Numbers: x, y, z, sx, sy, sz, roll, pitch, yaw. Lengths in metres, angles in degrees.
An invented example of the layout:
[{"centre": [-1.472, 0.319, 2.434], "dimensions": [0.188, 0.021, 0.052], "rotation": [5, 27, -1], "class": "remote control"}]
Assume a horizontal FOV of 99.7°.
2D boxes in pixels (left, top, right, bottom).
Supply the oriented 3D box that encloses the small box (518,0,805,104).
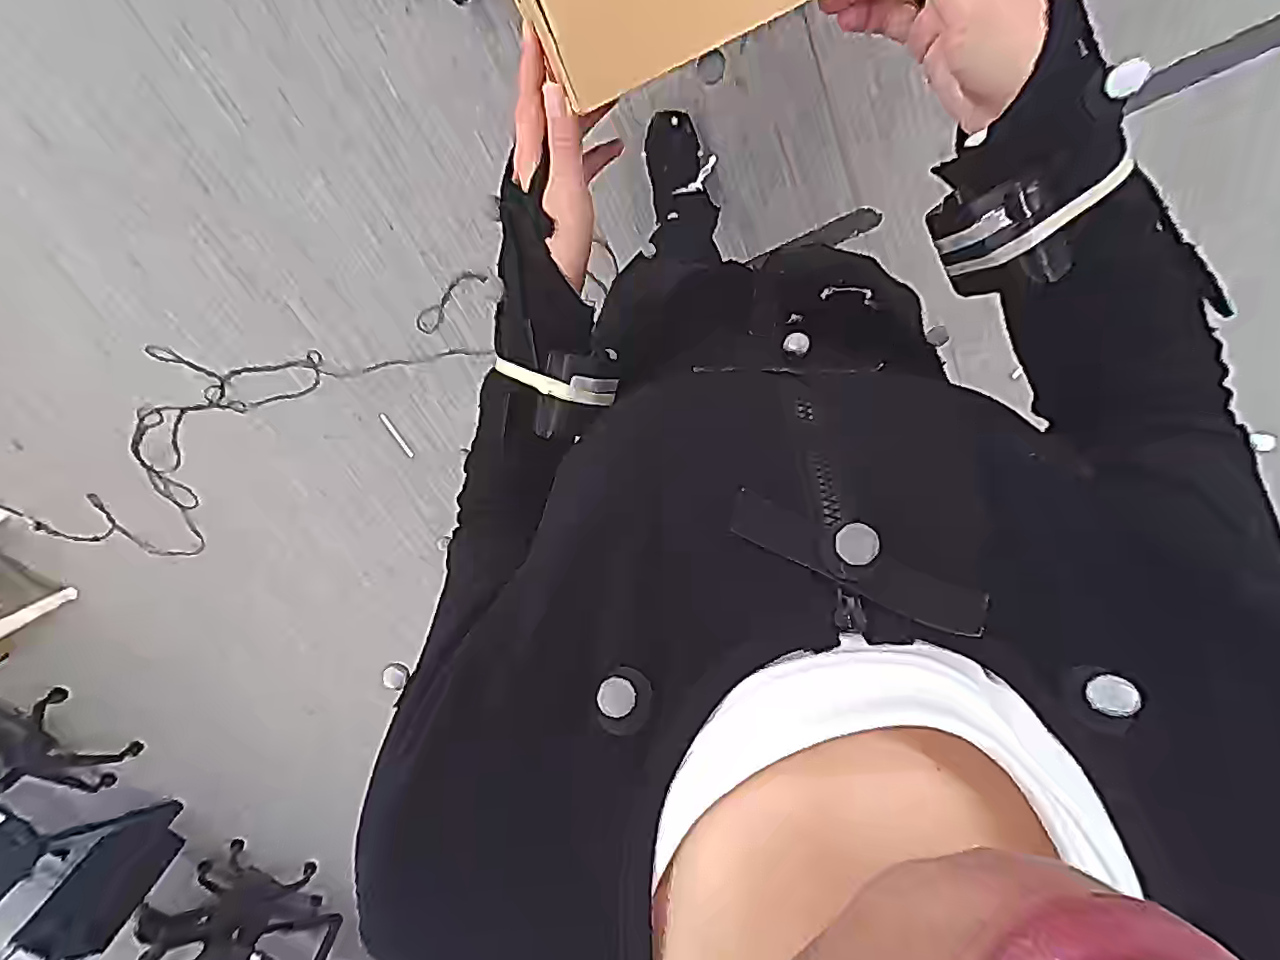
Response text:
[{"centre": [0.005, -0.322, 0.270], "dimensions": [0.179, 0.176, 0.168], "rotation": [-23, 129, 5], "class": "small box"}]
